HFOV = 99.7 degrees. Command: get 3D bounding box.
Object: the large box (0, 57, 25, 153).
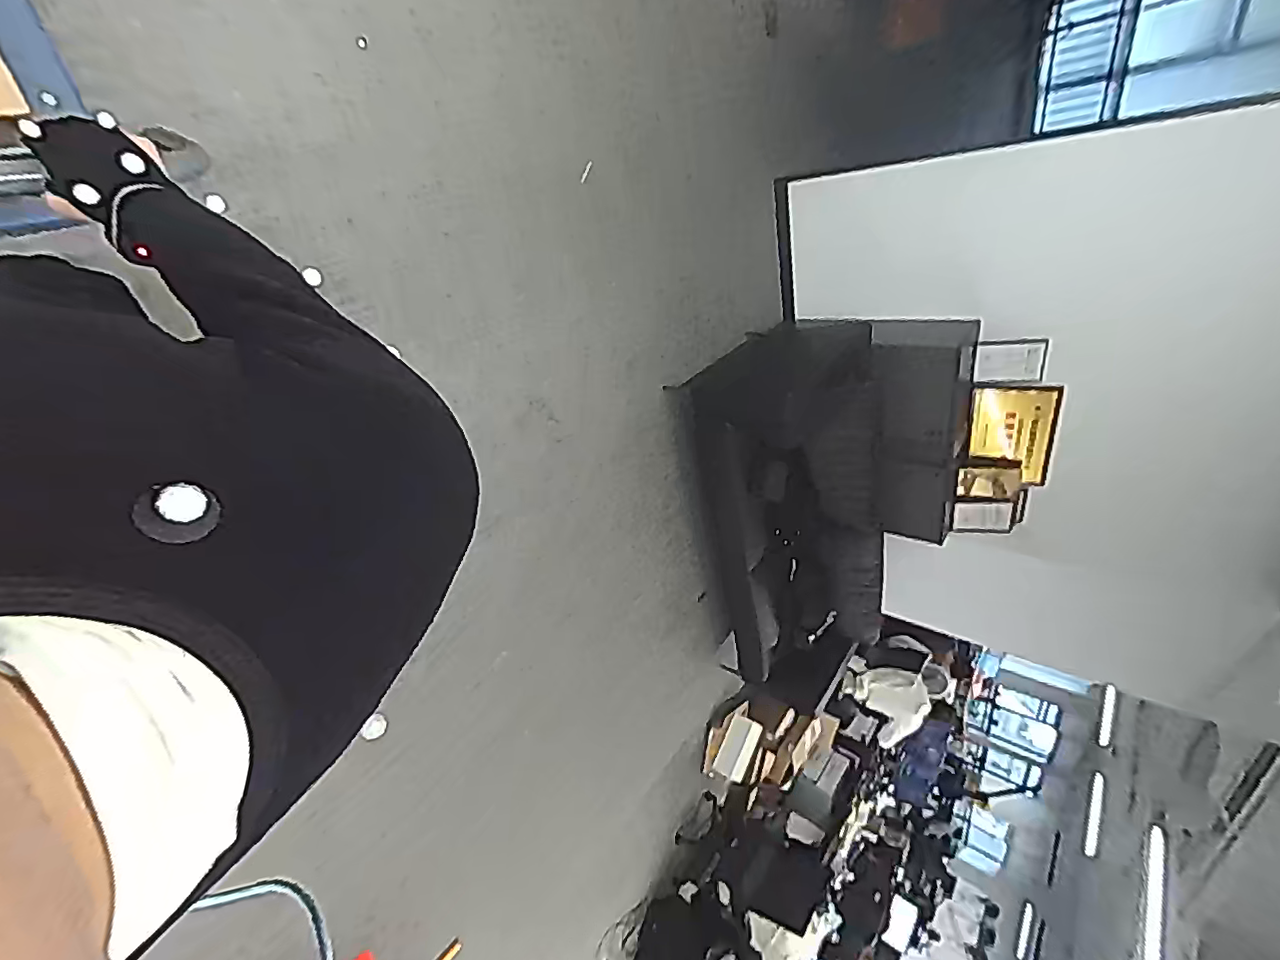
[{"bbox_3d":[-1.087,-0.638,0.655,0.320,0.320,0.408,-36,126,-40],"label":"large box"}]
